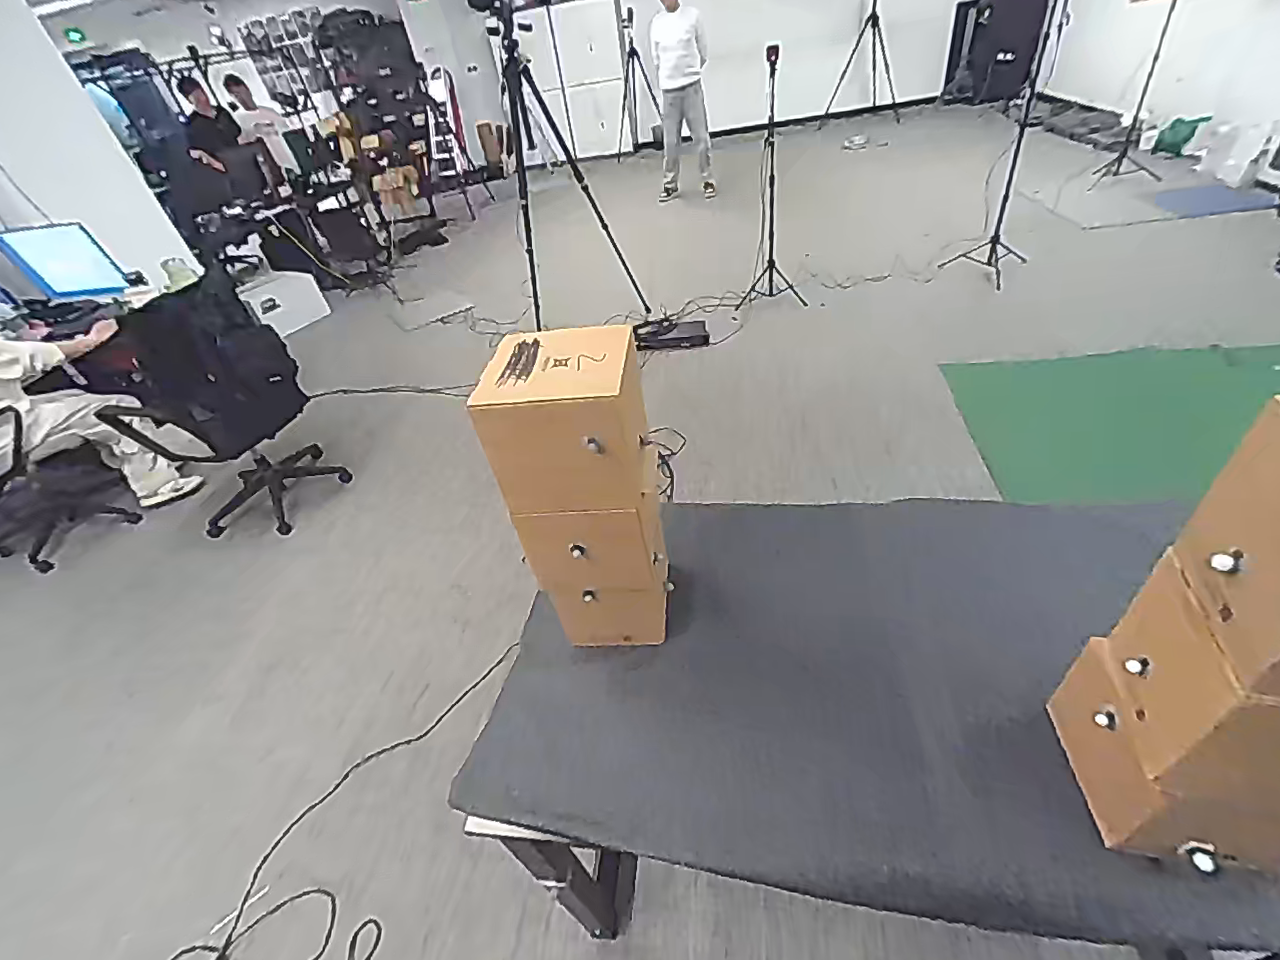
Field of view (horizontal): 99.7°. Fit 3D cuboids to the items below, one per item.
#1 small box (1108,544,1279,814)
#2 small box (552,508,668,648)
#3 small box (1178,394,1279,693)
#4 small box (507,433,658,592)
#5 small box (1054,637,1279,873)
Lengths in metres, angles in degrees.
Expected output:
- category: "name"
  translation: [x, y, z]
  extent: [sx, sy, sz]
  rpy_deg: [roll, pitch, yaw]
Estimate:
- category: "small box"
  translation: [0.576, 0.184, 0.487]
  extent: [0.179, 0.176, 0.168]
  rpy_deg: [5, 41, 21]
- category: "small box"
  translation: [-0.044, 0.163, 0.919]
  extent: [0.168, 0.176, 0.179]
  rpy_deg: [-4, 41, 9]
- category: "small box"
  translation: [0.553, 0.056, 0.385]
  extent: [0.179, 0.176, 0.168]
  rpy_deg: [6, 41, 23]
- category: "small box"
  translation: [-0.070, 0.051, 0.801]
  extent: [0.179, 0.176, 0.168]
  rpy_deg: [-4, 41, 10]
- category: "small box"
  translation: [0.603, 0.299, 0.599]
  extent: [0.168, 0.176, 0.179]
  rpy_deg: [-2, 40, 13]
